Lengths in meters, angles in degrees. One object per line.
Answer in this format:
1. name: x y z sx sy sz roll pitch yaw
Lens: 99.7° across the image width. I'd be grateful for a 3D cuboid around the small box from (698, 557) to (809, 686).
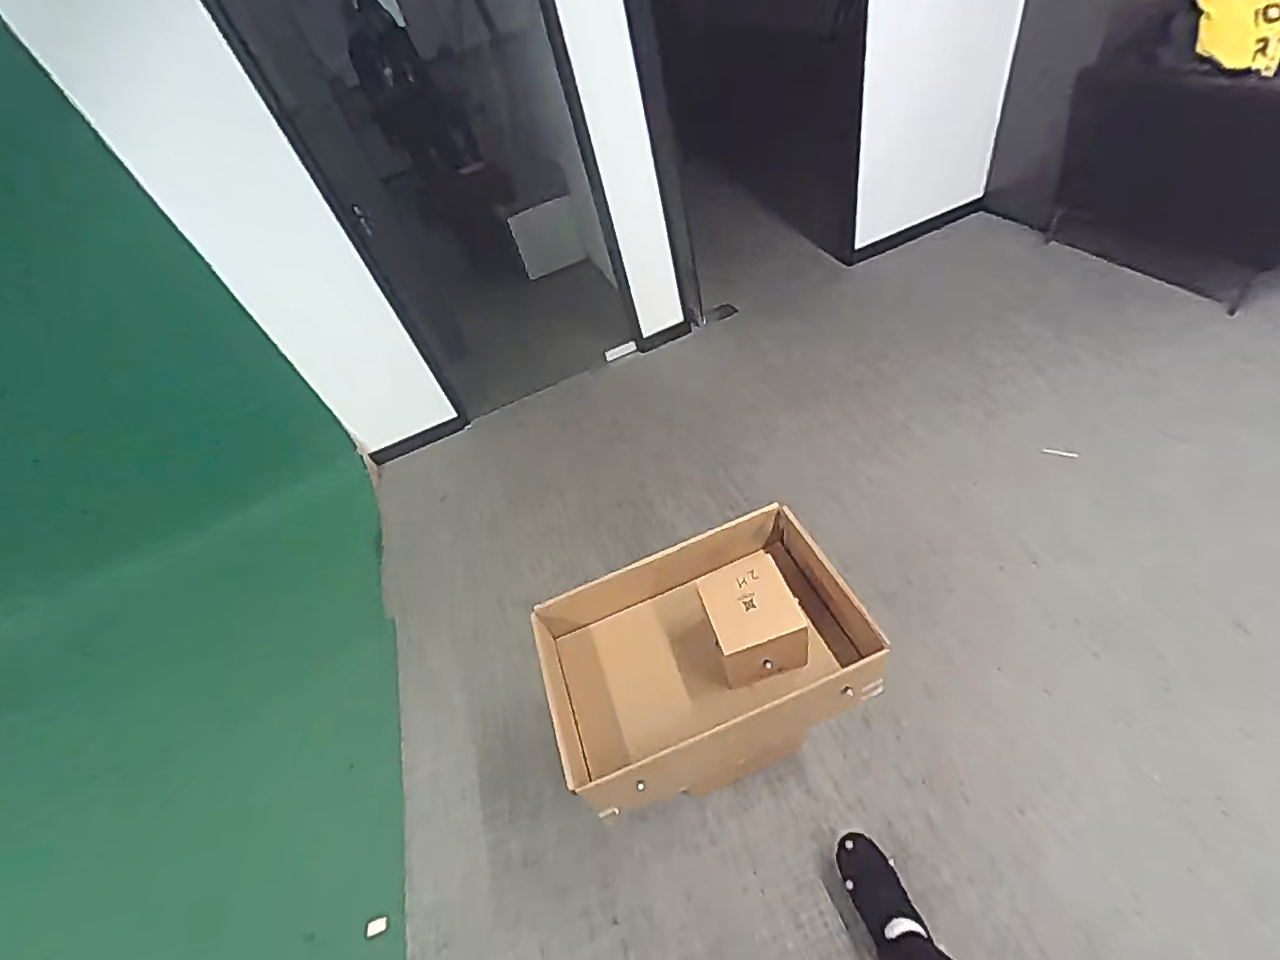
1. small box: 0.230 0.292 1.088 0.168 0.176 0.179 -19 45 -1
